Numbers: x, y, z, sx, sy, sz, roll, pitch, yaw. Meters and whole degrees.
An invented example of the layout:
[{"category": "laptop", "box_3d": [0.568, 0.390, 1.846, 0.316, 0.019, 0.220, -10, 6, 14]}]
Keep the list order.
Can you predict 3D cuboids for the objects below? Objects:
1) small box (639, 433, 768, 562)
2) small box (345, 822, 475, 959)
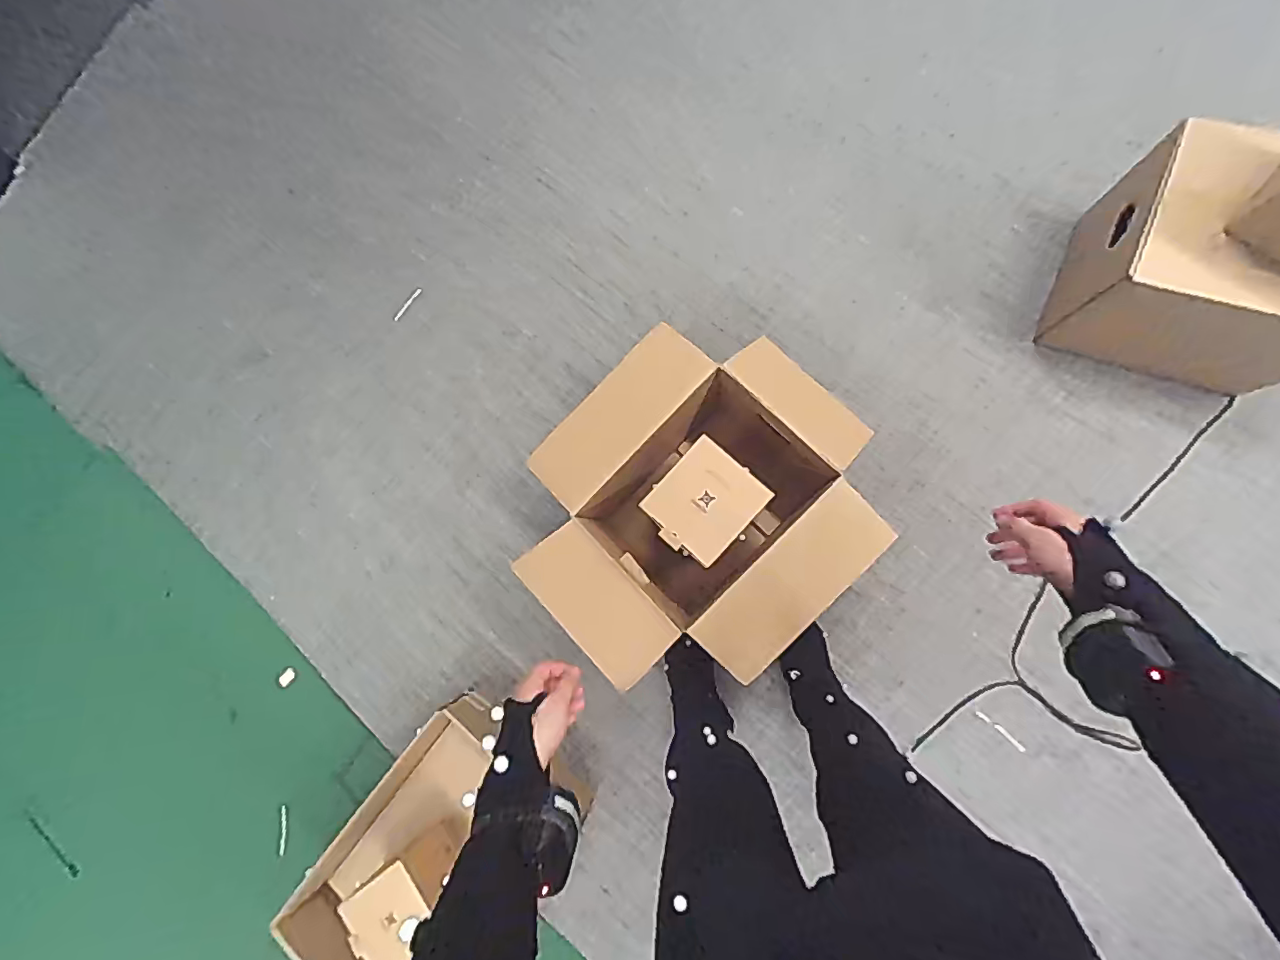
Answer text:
[{"category": "small box", "box_3d": [0.124, 0.039, 1.041, 0.168, 0.176, 0.179, 41, 91, 9]}, {"category": "small box", "box_3d": [-0.488, 0.901, 1.184, 0.179, 0.176, 0.168, -40, 78, 2]}]
